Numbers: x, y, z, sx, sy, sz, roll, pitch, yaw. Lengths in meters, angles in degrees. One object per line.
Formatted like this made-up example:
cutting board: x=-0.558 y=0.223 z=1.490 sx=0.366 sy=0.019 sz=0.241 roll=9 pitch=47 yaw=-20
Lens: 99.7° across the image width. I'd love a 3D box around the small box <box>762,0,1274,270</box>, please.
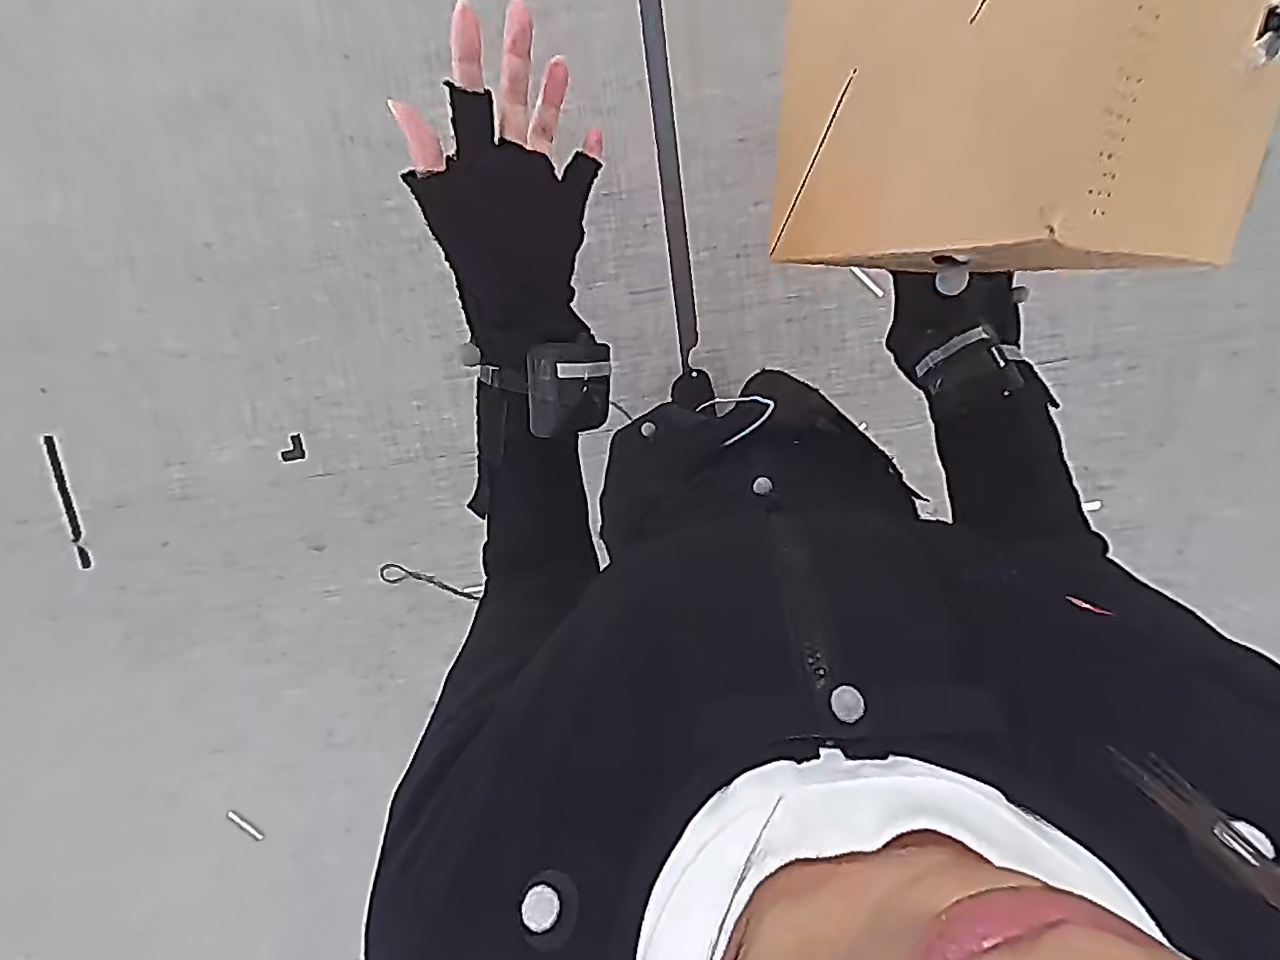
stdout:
small box: x=0.186 y=-0.212 z=0.291 sx=0.176 sy=0.168 sz=0.179 roll=-8 pitch=110 yaw=-25
